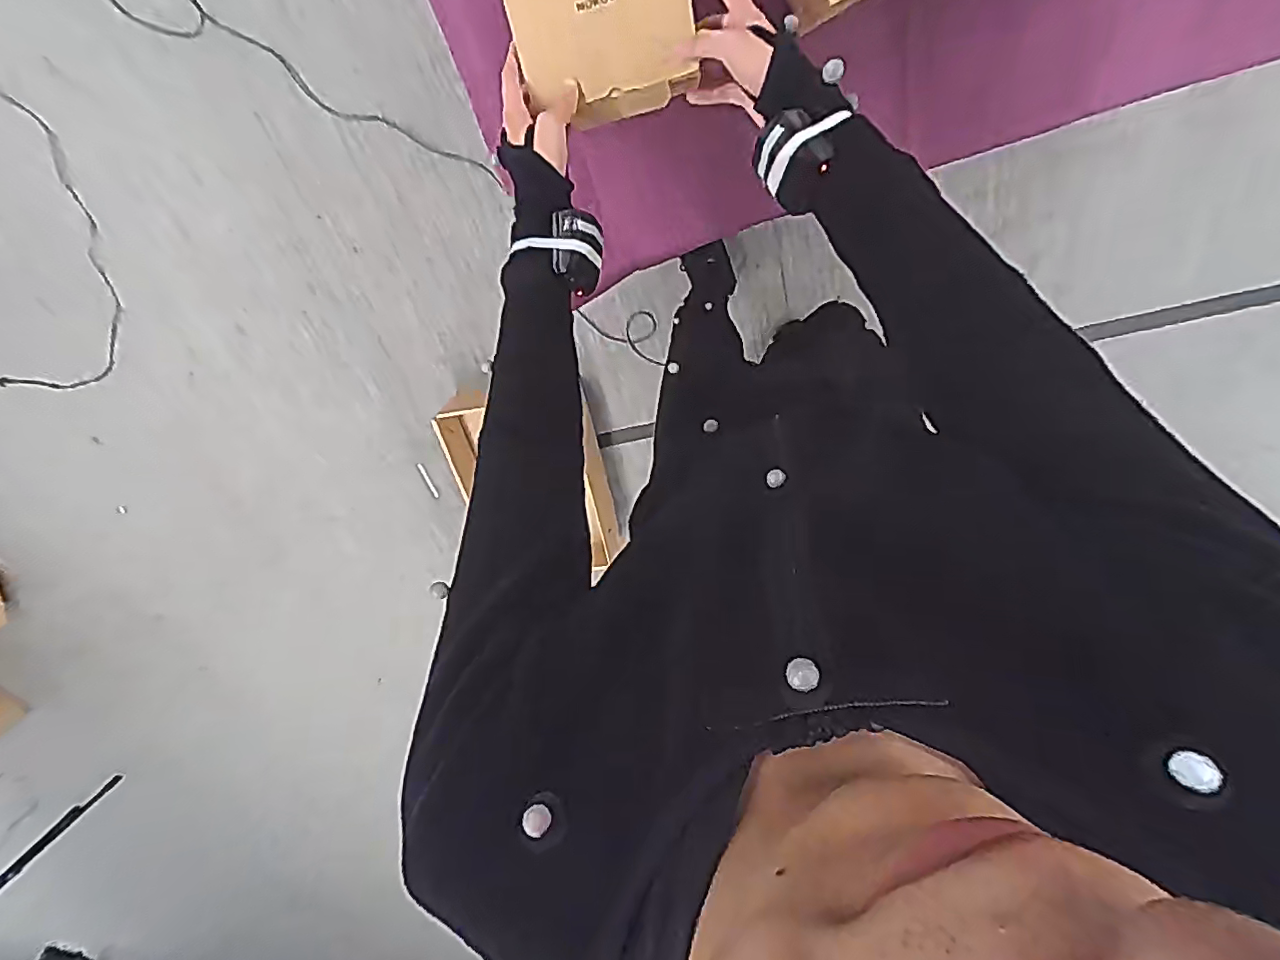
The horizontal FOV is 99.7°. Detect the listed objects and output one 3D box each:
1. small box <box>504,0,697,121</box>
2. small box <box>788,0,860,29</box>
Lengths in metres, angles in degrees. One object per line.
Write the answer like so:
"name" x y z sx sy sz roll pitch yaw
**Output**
"small box" -0.035 -0.478 0.539 0.168 0.176 0.179 -9 120 10
"small box" 0.209 -0.544 0.475 0.179 0.176 0.168 -21 118 17
